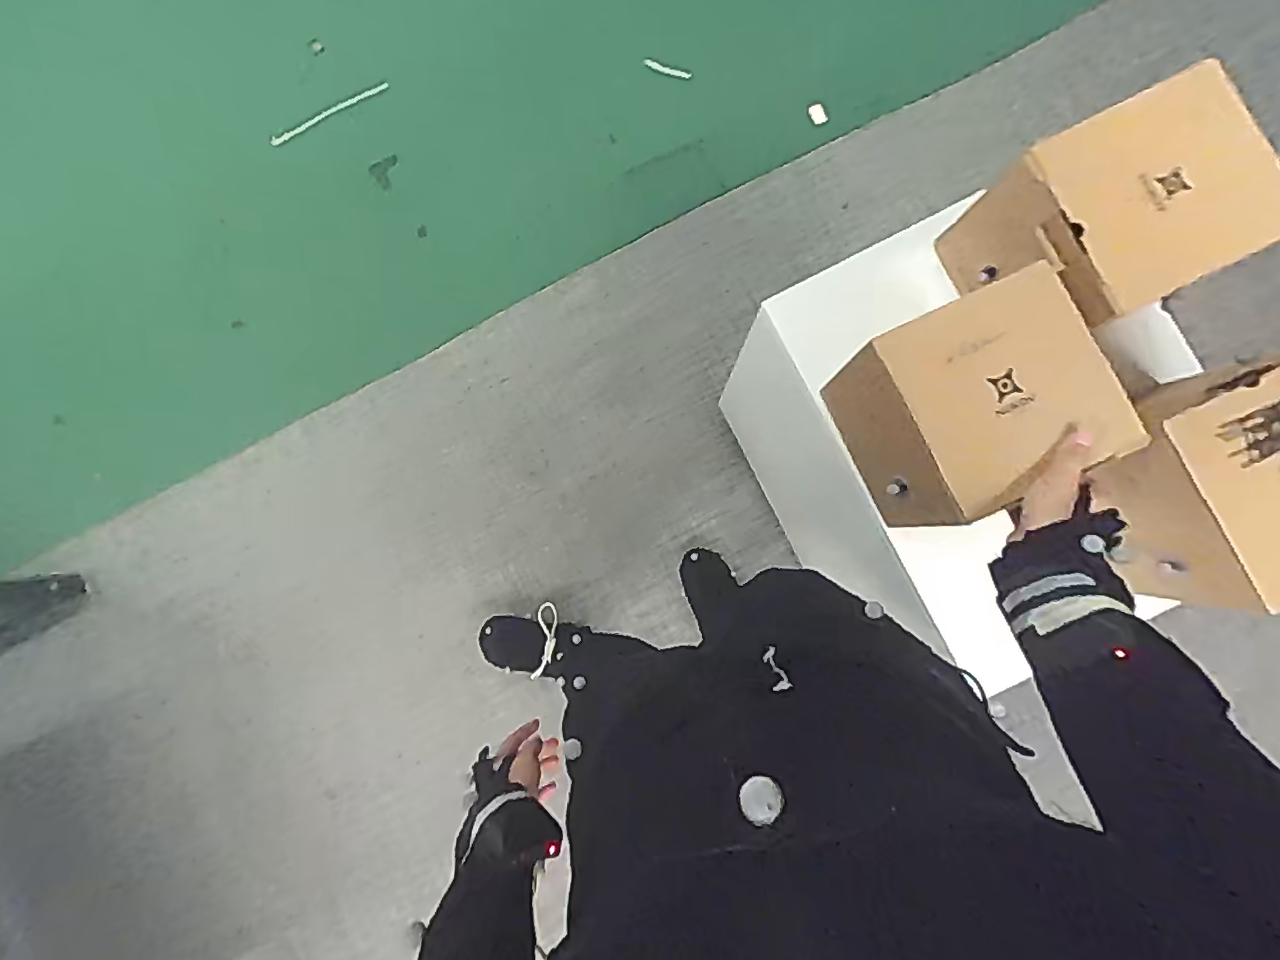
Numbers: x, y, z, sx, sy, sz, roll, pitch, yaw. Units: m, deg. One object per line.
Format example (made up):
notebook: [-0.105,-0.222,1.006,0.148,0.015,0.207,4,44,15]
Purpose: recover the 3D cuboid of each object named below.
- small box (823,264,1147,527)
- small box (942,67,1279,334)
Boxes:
small box: [0.306,-0.064,0.525,0.168,0.176,0.179,-25,82,0]
small box: [0.450,-0.240,0.537,0.179,0.176,0.168,-26,86,1]
